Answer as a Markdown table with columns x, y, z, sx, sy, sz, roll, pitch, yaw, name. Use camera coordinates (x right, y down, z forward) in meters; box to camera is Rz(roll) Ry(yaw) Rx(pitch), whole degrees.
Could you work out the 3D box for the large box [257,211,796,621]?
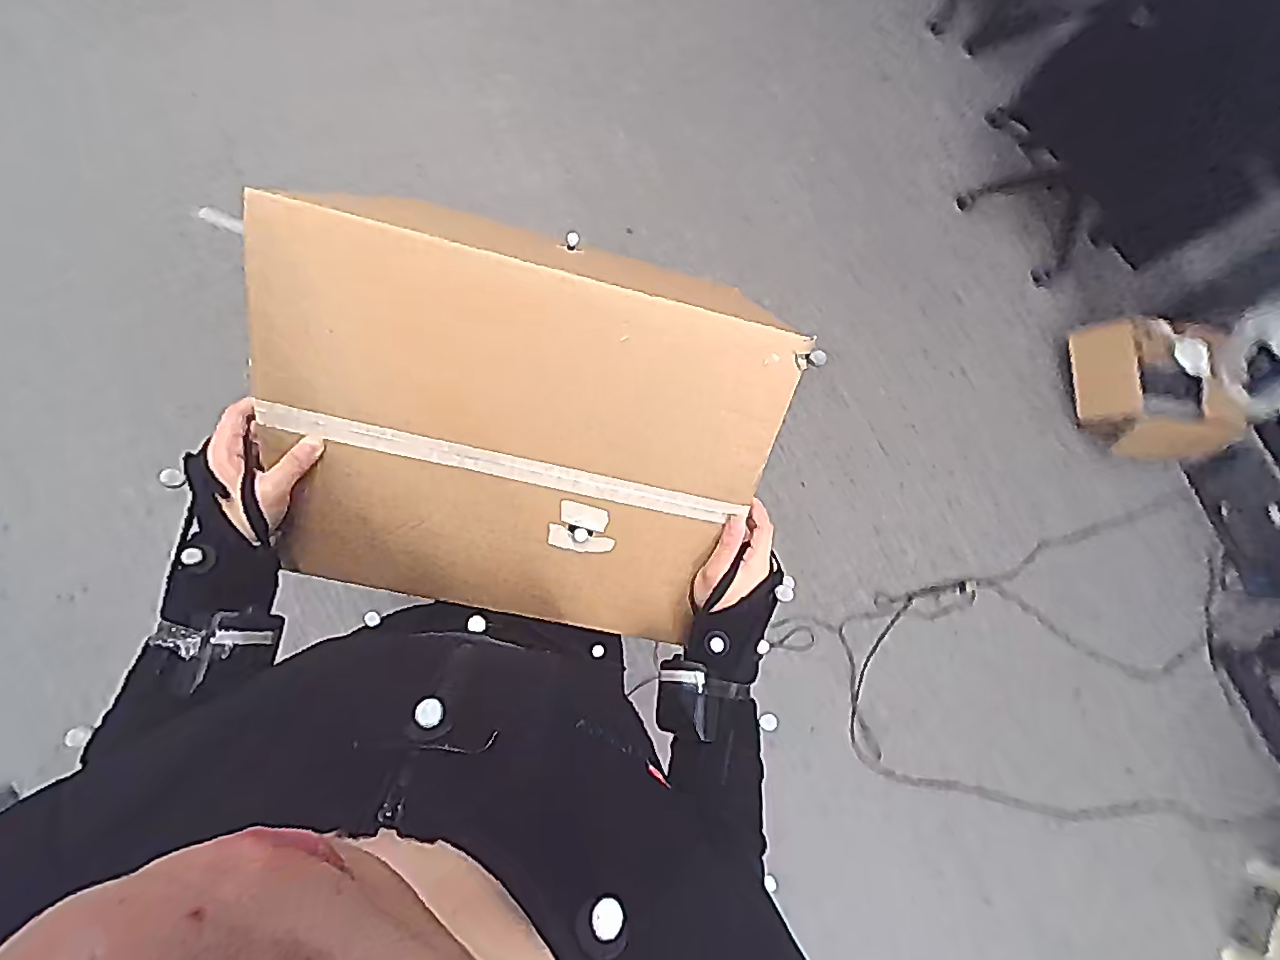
| x | y | z | sx | sy | sz | roll | pitch | yaw | name |
| --- | --- | --- | --- | --- | --- | --- | --- | --- | --- |
| -0.110 | -0.087 | 0.593 | 0.408 | 0.320 | 0.320 | 10 | 117 | -8 | large box |
